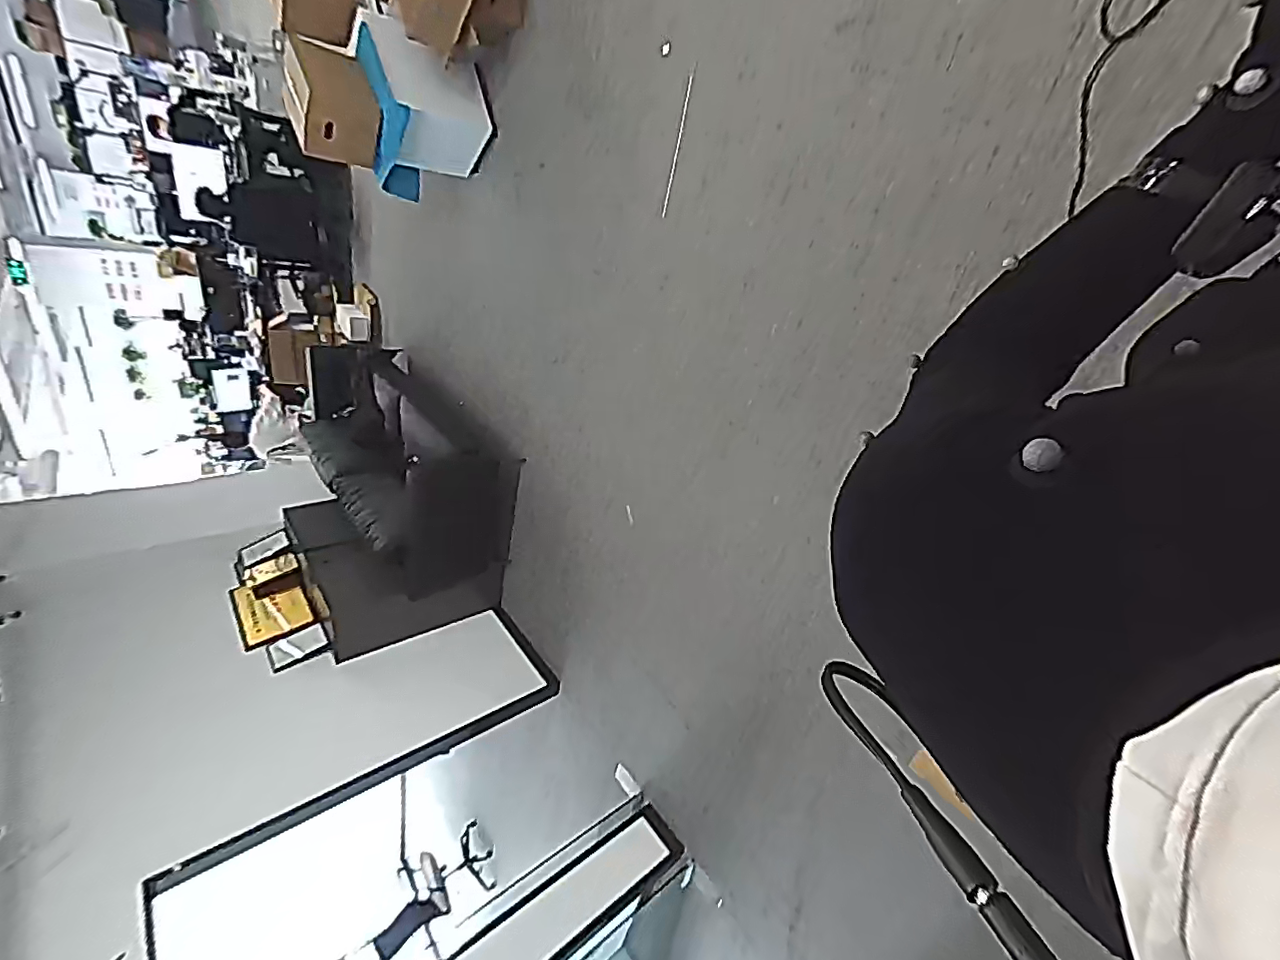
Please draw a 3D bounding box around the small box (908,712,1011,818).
[{"bbox_3d":[0.918,0.808,1.550,0.179,0.176,0.168,38,125,39],"label":"small box"}]
